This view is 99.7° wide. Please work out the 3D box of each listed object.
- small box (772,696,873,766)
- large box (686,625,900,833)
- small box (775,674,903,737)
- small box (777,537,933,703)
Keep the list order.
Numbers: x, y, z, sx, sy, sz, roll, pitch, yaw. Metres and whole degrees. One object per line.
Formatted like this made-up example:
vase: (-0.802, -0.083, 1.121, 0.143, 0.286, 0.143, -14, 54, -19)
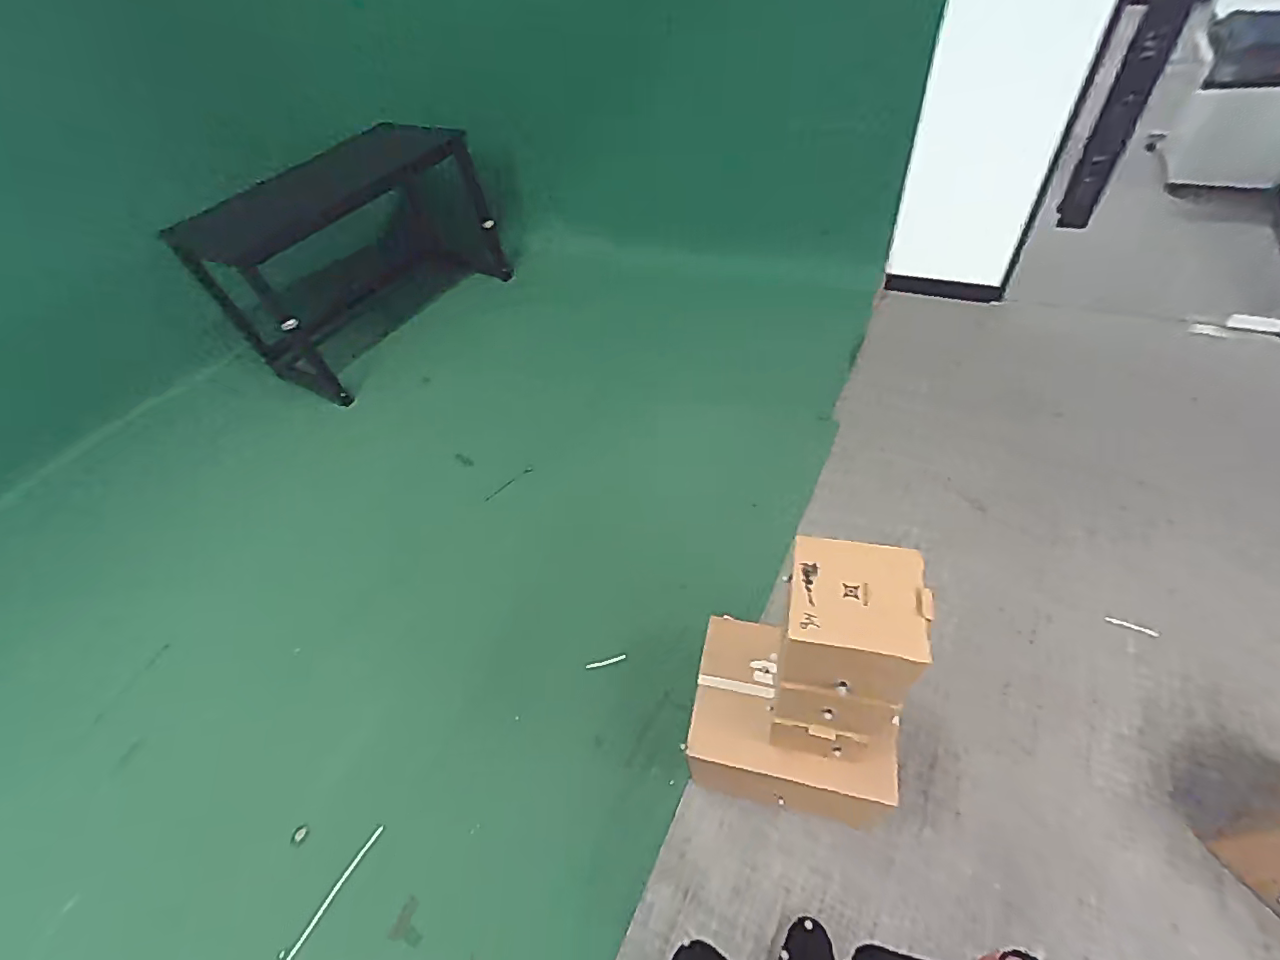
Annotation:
small box: (0.346, 0.423, 1.034, 0.168, 0.176, 0.179, 7, 51, 15)
large box: (0.342, 0.567, 1.236, 0.408, 0.320, 0.320, 5, 50, 16)
small box: (0.328, 0.316, 0.912, 0.179, 0.176, 0.168, 6, 51, 15)
small box: (0.304, 0.207, 0.790, 0.179, 0.176, 0.168, 7, 51, 14)
